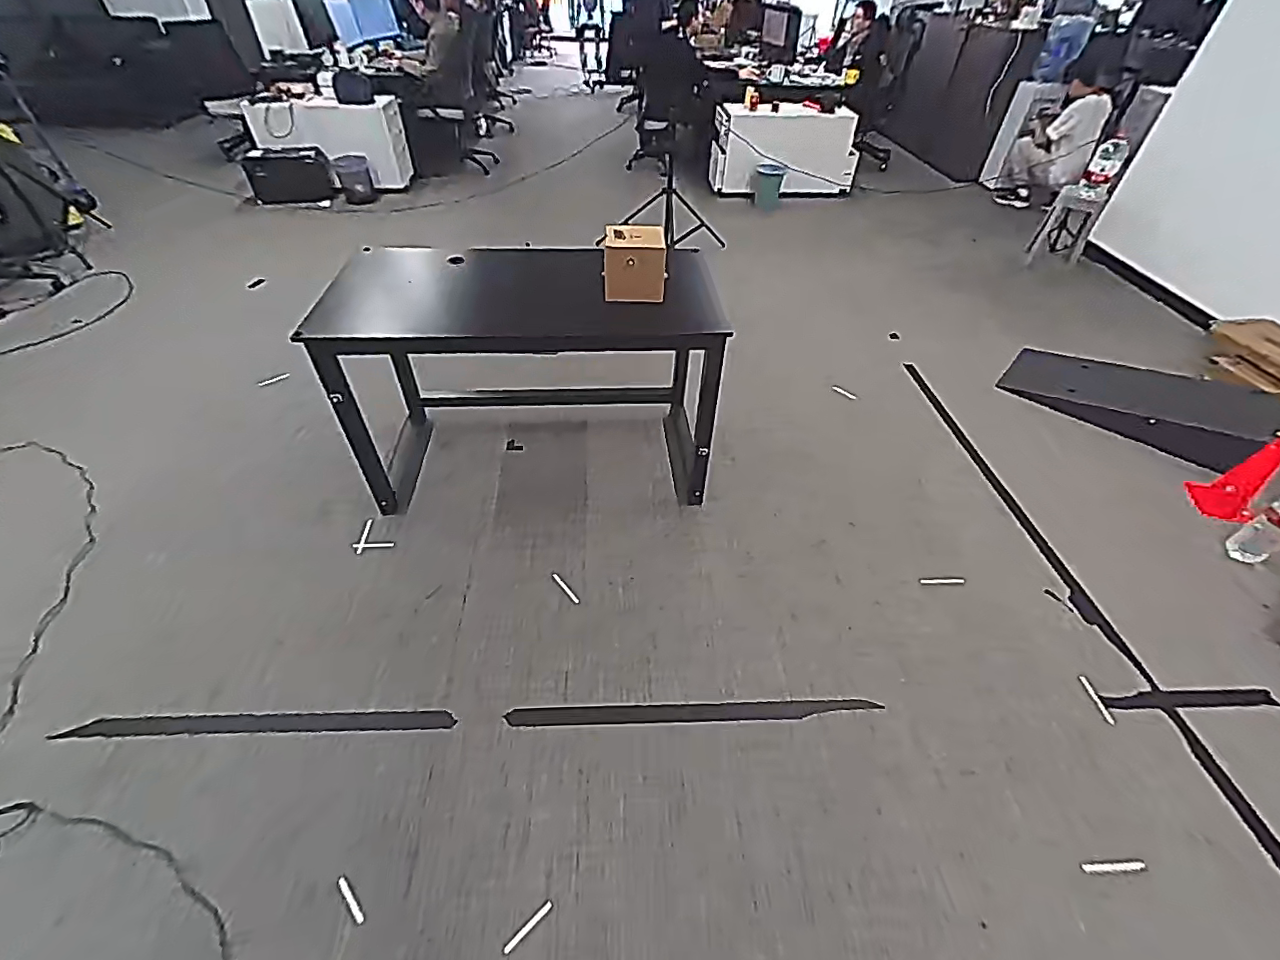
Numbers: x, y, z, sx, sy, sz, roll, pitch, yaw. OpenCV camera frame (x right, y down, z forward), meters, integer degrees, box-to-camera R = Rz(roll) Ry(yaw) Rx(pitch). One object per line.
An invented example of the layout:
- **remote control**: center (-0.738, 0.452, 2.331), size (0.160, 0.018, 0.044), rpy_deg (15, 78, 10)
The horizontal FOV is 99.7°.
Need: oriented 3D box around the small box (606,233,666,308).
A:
- **small box**: center (-0.014, -0.643, 1.663), size (0.179, 0.176, 0.168), rpy_deg (0, 44, -2)
